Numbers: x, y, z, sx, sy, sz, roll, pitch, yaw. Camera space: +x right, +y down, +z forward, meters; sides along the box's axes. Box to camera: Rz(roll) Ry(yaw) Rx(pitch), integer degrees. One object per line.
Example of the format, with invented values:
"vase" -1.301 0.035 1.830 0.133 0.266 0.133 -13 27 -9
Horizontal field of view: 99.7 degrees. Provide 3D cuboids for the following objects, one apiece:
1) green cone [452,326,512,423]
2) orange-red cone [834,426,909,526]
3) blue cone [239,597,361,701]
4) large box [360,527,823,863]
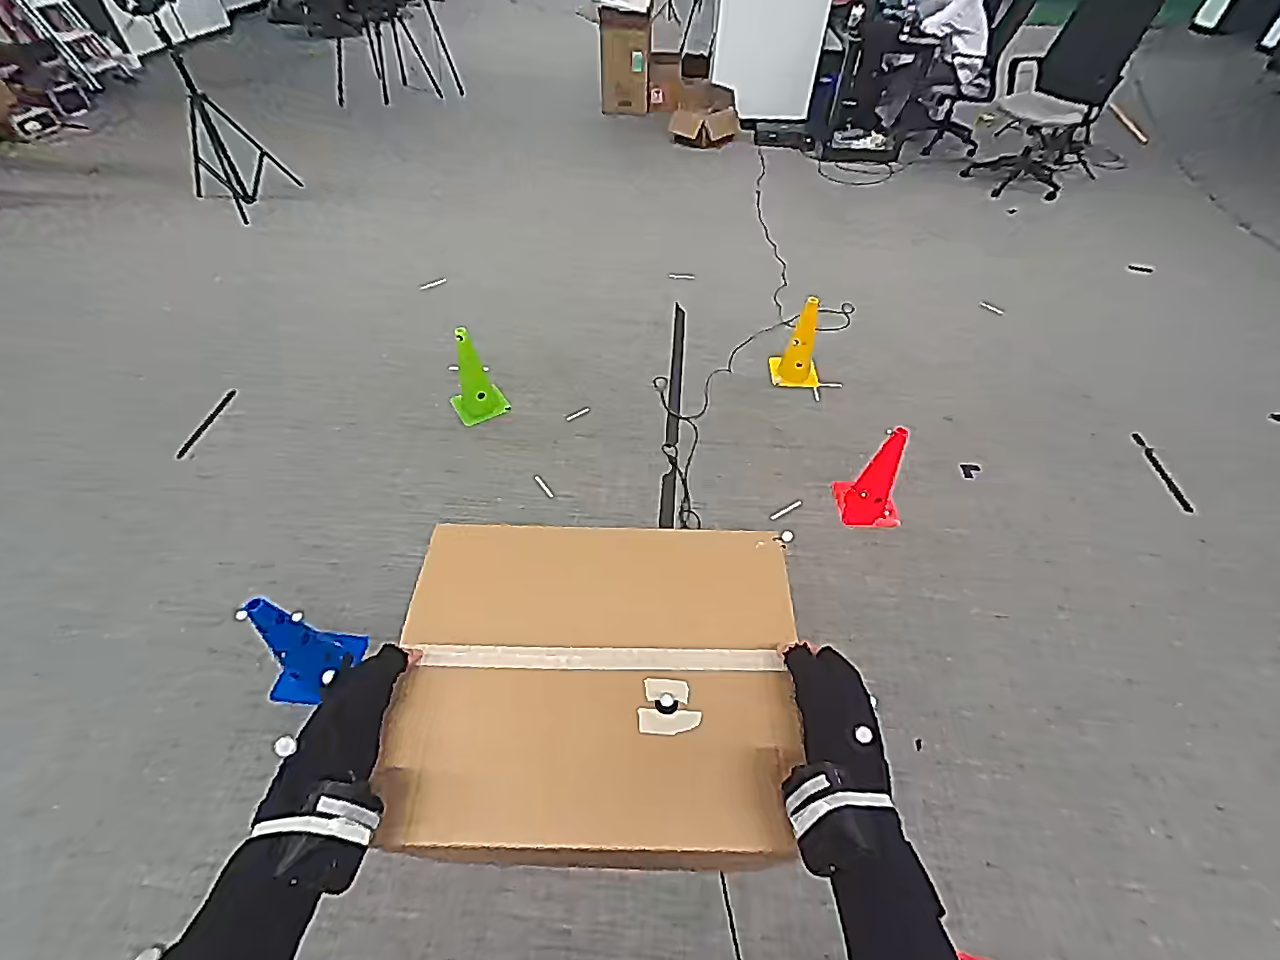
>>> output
"green cone" -0.653 -0.434 2.100 0.202 0.368 0.200 -27 54 -20
"orange-red cone" 0.796 -0.036 1.775 0.198 0.360 0.199 2 47 0
"blue cone" -0.892 0.406 1.381 0.192 0.380 0.193 5 49 5
"large box" -0.044 0.272 0.665 0.408 0.320 0.320 2 52 0
